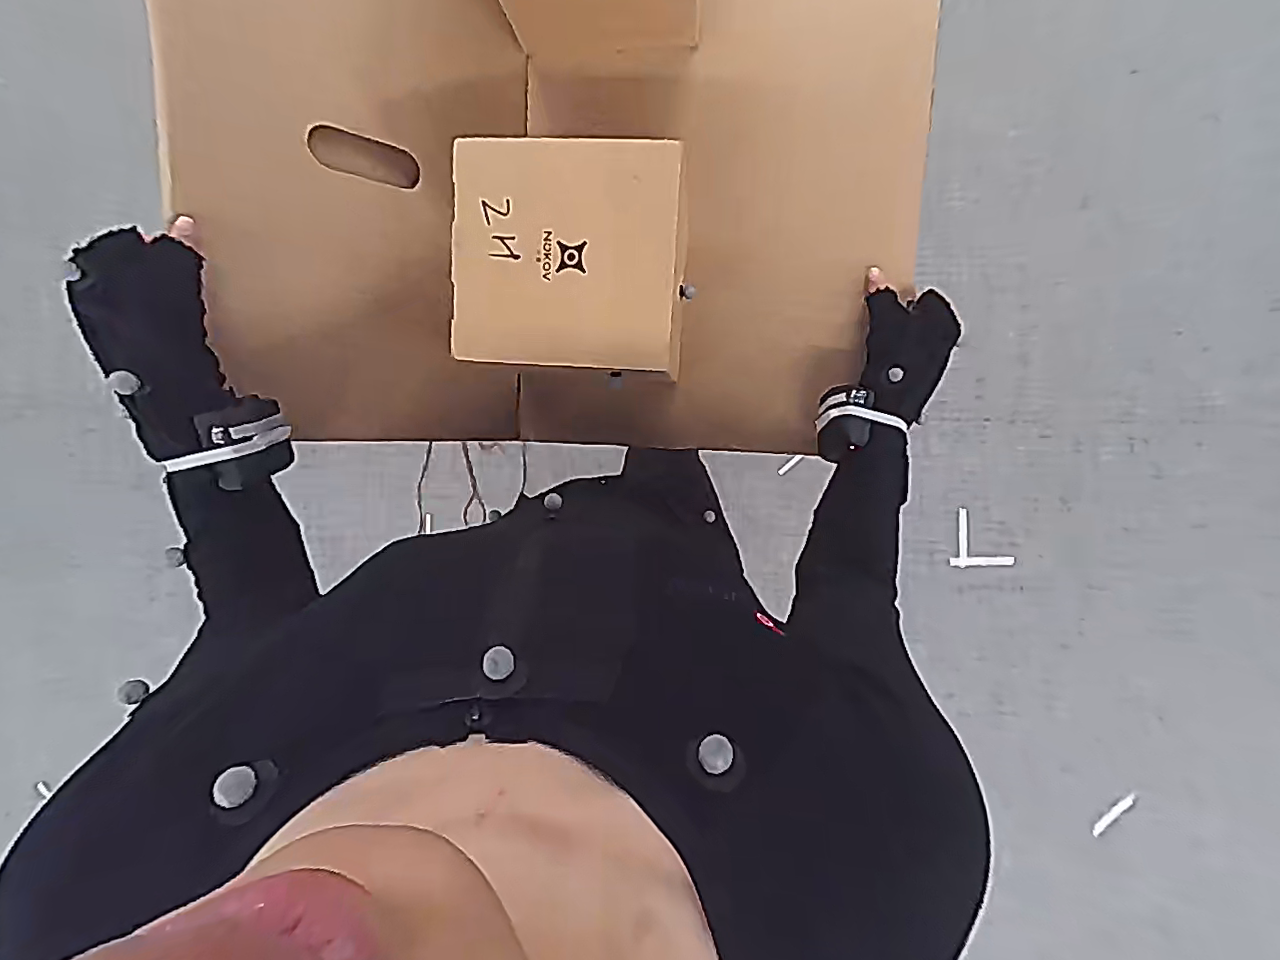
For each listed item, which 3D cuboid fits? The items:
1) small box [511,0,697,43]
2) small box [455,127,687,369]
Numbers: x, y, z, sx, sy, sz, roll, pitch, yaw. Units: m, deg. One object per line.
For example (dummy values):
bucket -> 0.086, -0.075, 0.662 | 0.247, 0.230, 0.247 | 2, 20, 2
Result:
small box -> -0.038, -0.511, 0.457 | 0.179, 0.176, 0.168 | 2, 97, 6
small box -> -0.050, -0.194, 0.498 | 0.179, 0.176, 0.168 | 5, 98, 6
